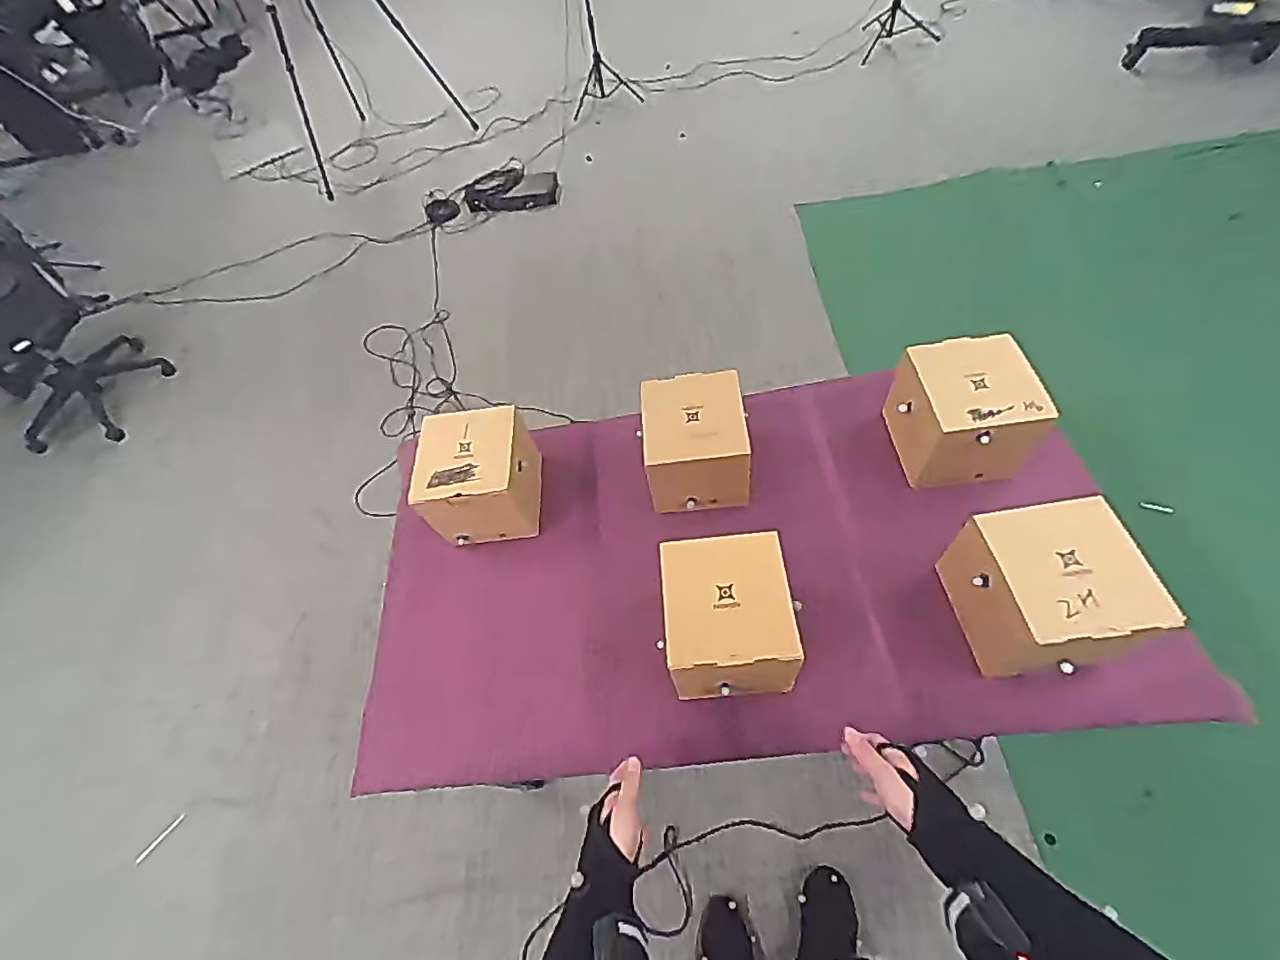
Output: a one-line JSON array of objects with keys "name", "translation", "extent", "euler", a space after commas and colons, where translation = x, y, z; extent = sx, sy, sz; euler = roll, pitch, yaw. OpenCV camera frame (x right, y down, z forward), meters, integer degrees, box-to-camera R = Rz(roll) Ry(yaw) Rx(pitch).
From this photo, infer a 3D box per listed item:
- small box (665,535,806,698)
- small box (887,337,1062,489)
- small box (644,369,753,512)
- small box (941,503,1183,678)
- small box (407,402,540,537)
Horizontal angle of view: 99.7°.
[{"name": "small box", "translation": [0.124, 0.198, 0.765], "extent": [0.168, 0.176, 0.179], "euler": [-6, 58, 4]}, {"name": "small box", "translation": [0.530, -0.106, 0.890], "extent": [0.168, 0.176, 0.179], "euler": [-7, 59, 5]}, {"name": "small box", "translation": [0.097, -0.063, 0.927], "extent": [0.168, 0.176, 0.179], "euler": [-5, 60, 5]}, {"name": "small box", "translation": [0.540, 0.154, 0.730], "extent": [0.168, 0.176, 0.179], "euler": [-9, 59, 4]}, {"name": "small box", "translation": [-0.277, -0.010, 0.941], "extent": [0.168, 0.176, 0.179], "euler": [-6, 59, 4]}]
